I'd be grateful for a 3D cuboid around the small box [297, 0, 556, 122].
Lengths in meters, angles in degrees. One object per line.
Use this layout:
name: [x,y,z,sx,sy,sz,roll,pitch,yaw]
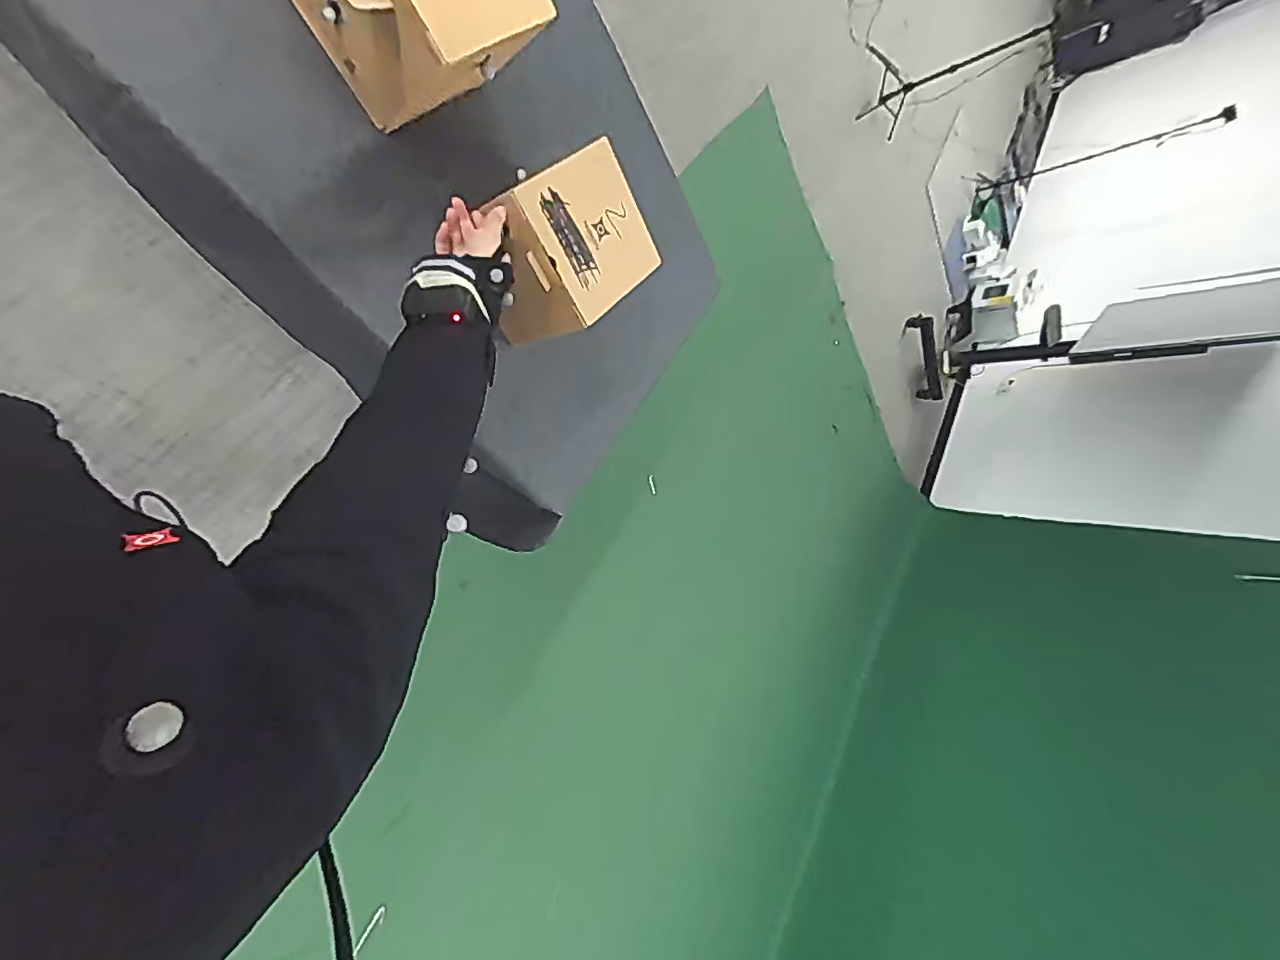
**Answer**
small box: [-0.228,-0.512,0.557,0.179,0.176,0.168,-53,128,-29]
